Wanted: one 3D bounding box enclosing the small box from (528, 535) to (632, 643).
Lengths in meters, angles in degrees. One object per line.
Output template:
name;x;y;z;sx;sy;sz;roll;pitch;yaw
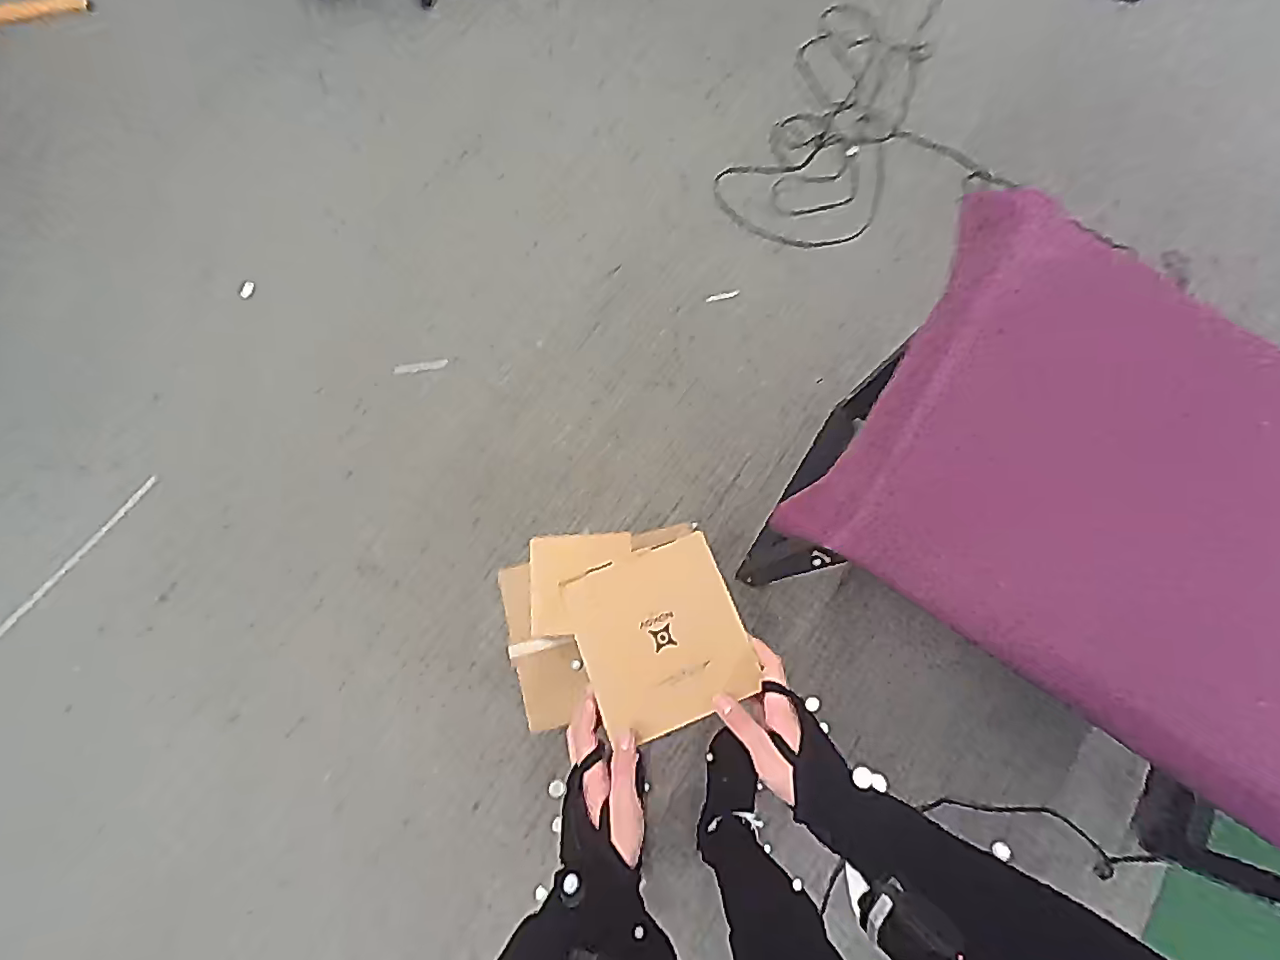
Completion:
small box;-0.099;0.199;0.965;0.179;0.176;0.168;-3;73;-4

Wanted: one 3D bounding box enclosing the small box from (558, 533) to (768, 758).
small box;0.012;0.183;0.603;0.168;0.176;0.179;-18;72;-11

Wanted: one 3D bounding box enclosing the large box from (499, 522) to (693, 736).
large box;-0.058;0.318;1.188;0.408;0.320;0.320;-14;77;-8
